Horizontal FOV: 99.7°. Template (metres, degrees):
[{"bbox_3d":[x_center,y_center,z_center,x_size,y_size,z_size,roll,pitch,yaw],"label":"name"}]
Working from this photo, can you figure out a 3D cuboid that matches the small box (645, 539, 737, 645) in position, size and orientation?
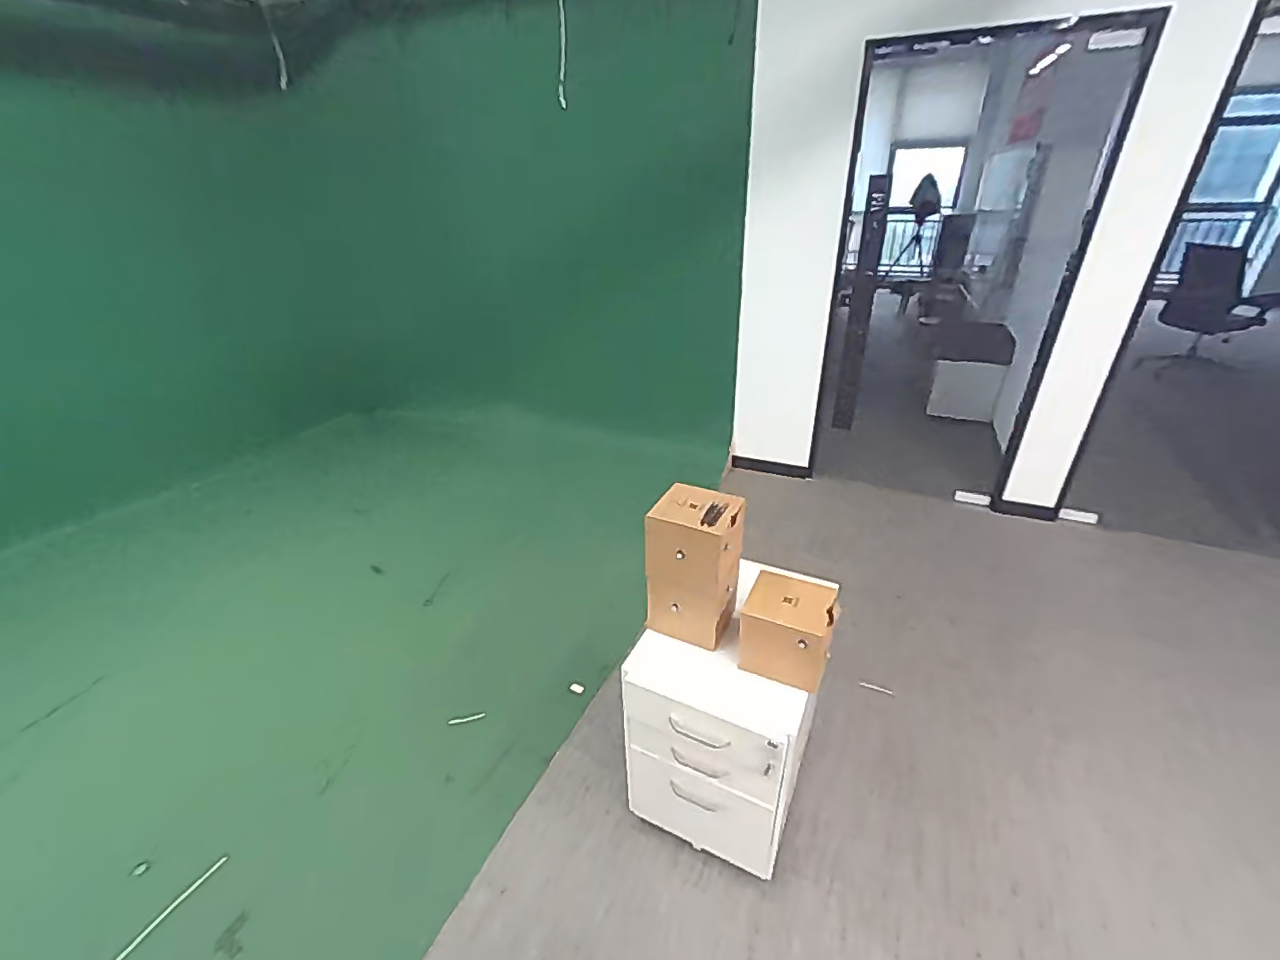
[{"bbox_3d":[0.124,0.271,1.311,0.179,0.176,0.168,13,32,23],"label":"small box"}]
